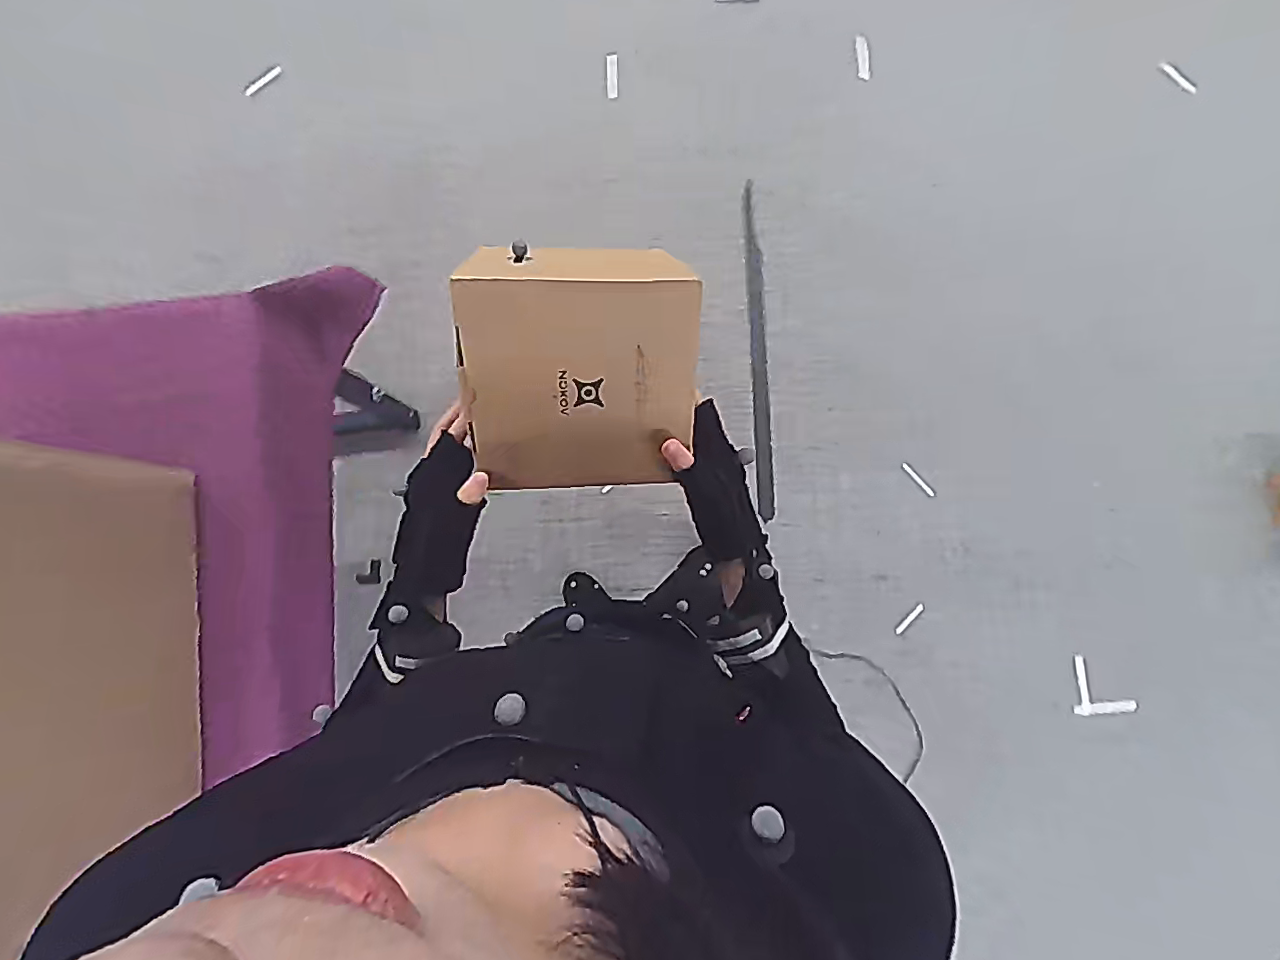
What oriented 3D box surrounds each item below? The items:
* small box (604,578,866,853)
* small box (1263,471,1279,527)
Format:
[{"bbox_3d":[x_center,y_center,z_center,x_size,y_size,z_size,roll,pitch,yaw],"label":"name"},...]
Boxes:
[{"bbox_3d":[0.091,0.226,0.552,0.168,0.176,0.179,36,114,39],"label":"small box"},{"bbox_3d":[1.918,0.047,1.503,0.179,0.176,0.168,-1,83,0],"label":"small box"}]
